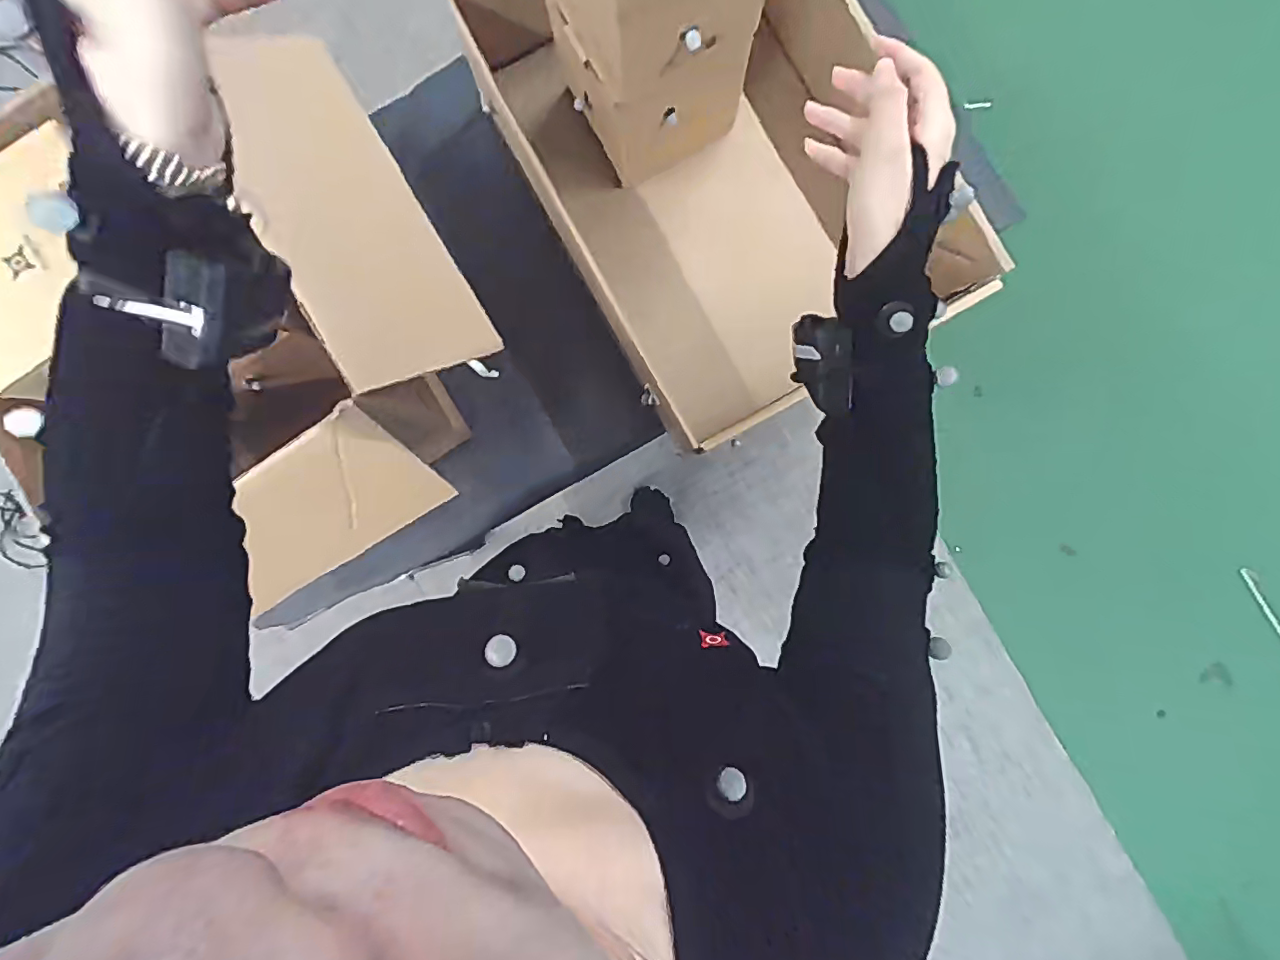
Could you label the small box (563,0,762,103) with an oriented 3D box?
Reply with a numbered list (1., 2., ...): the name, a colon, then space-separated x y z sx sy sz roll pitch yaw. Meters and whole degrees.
1. small box: 0.010 -0.508 0.495 0.168 0.176 0.179 -30 90 1
